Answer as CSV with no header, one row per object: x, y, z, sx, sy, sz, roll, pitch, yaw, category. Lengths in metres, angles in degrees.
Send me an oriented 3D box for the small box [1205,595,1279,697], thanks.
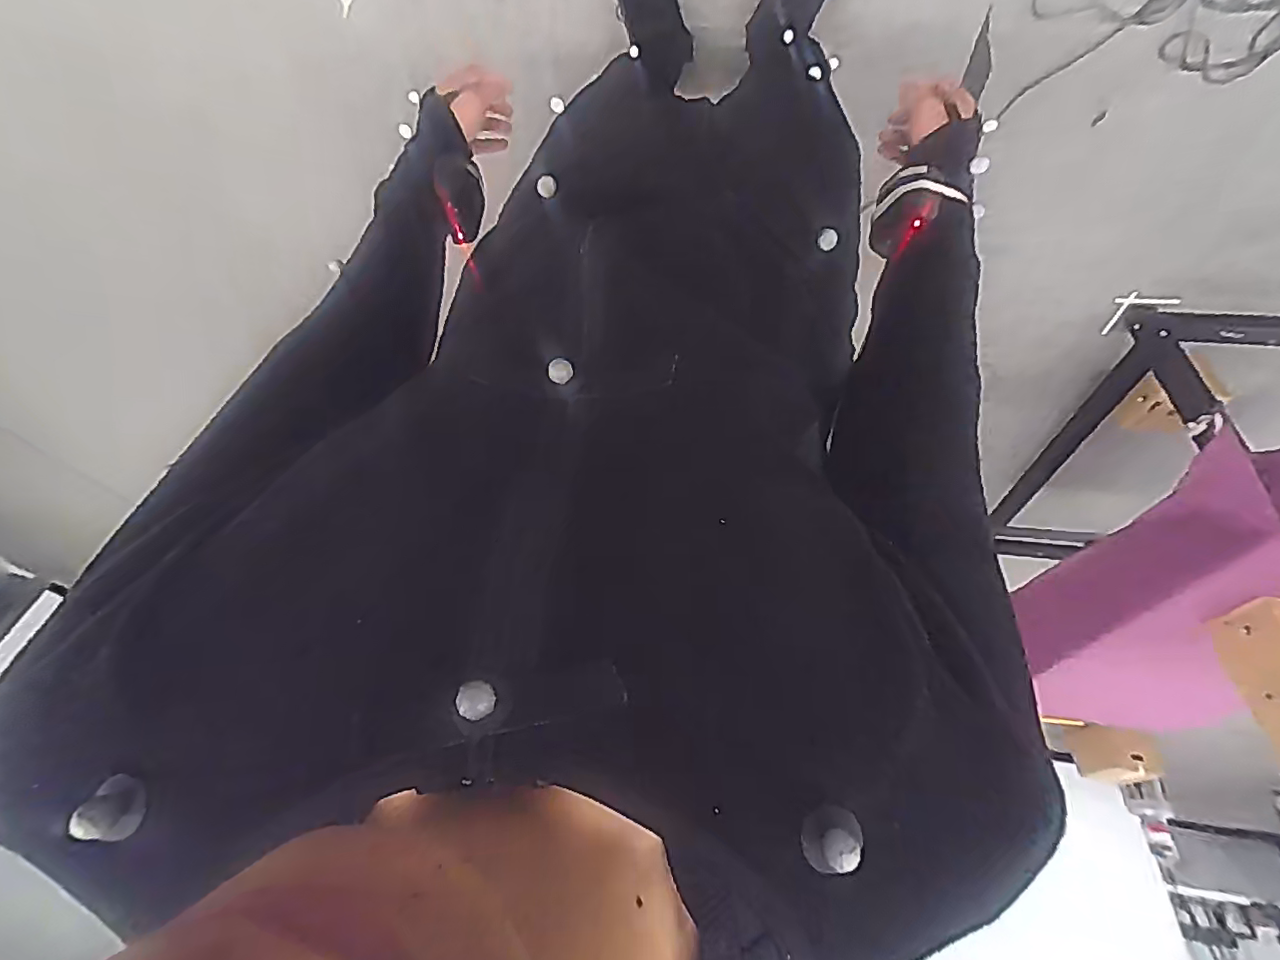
1.420,0.365,1.178,0.179,0.176,0.168,6,144,8,small box
